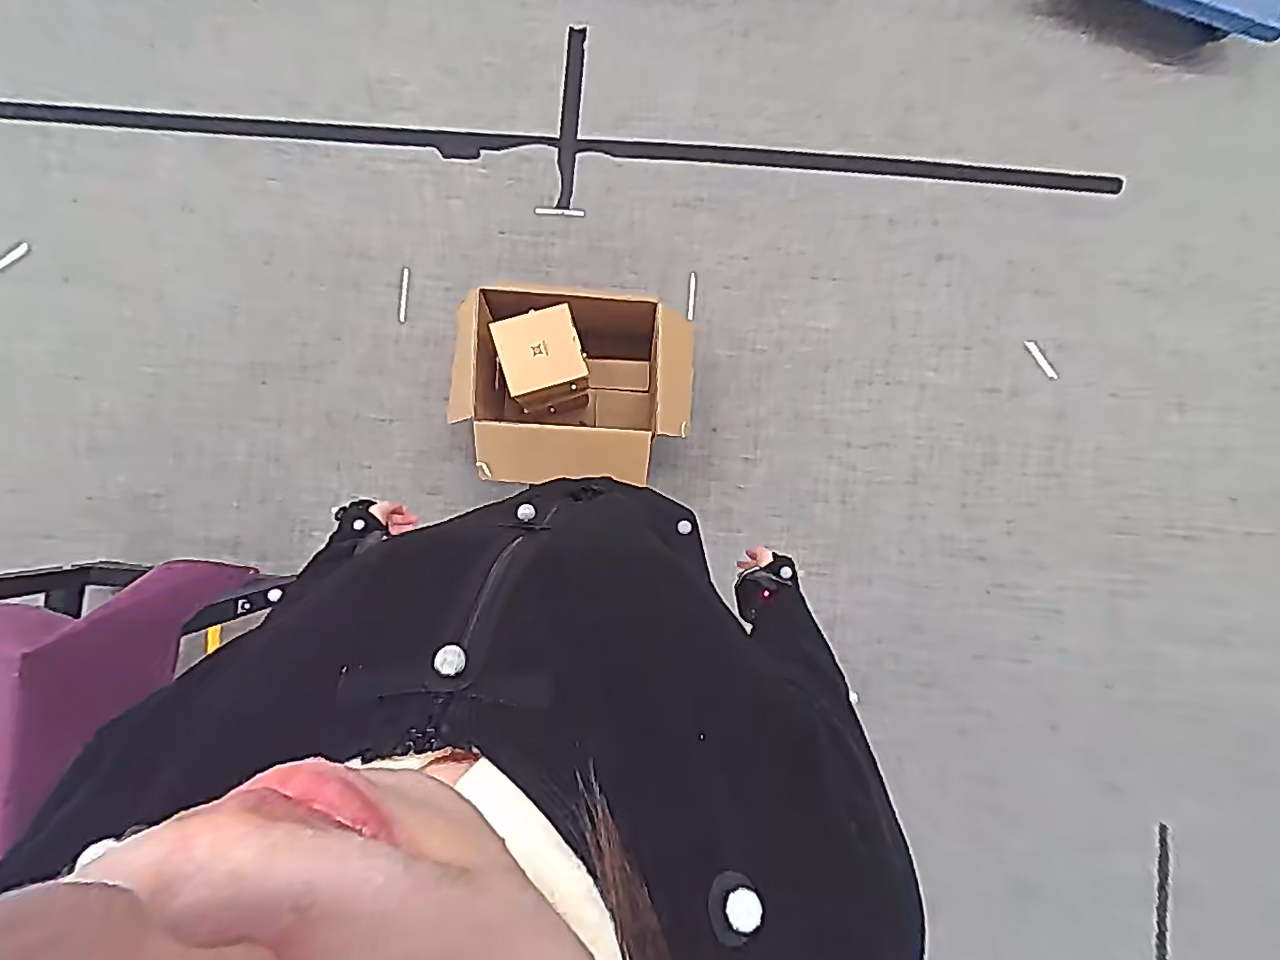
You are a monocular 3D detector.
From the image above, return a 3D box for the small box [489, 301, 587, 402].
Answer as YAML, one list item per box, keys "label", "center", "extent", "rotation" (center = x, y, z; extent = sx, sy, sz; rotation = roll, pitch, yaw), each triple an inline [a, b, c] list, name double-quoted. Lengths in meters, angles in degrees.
- label: "small box"
  center: [-0.225, -0.286, 1.241]
  extent: [0.179, 0.176, 0.168]
  rotation: [-17, 92, -5]
